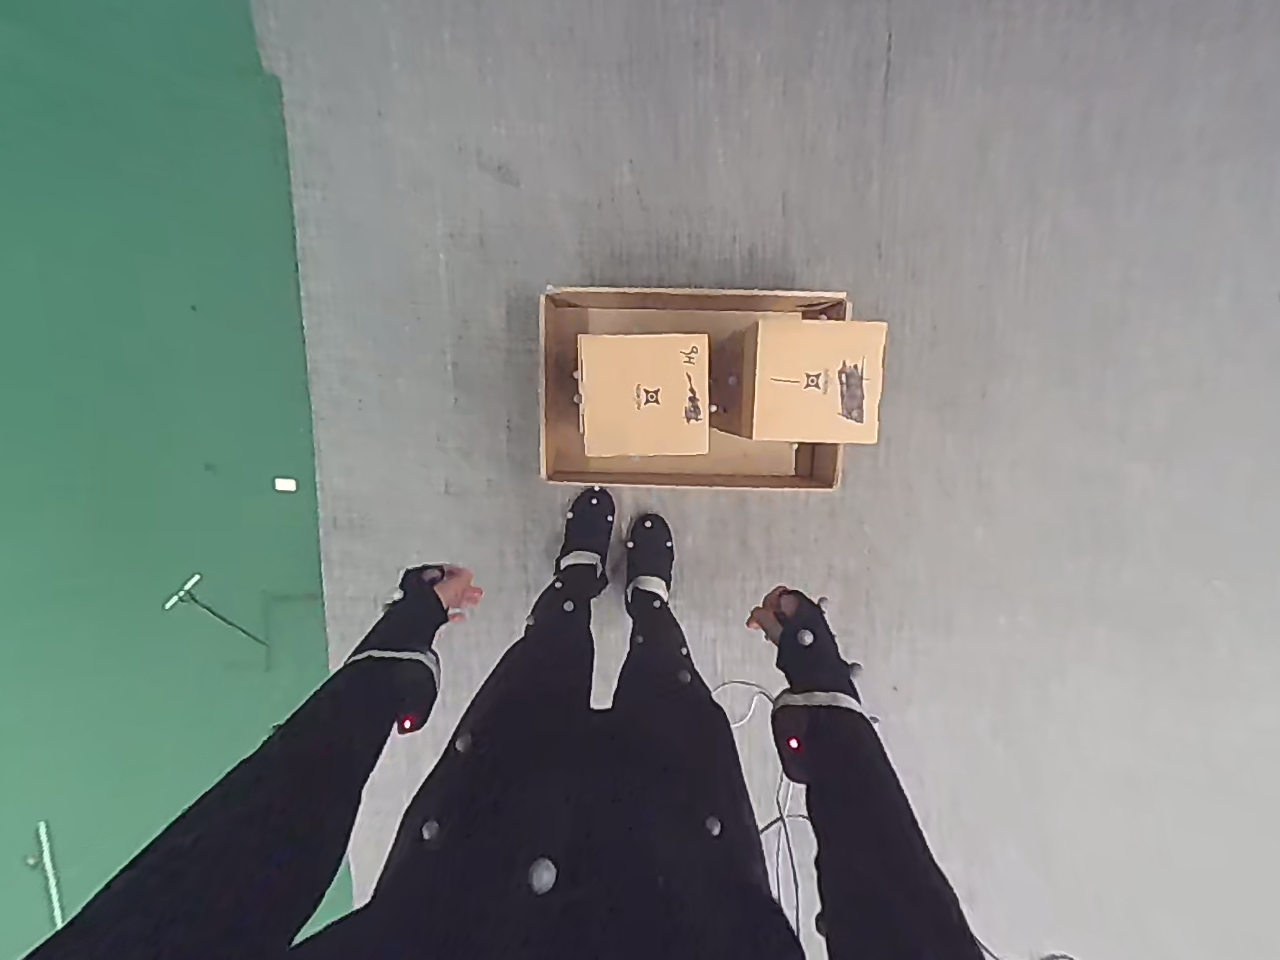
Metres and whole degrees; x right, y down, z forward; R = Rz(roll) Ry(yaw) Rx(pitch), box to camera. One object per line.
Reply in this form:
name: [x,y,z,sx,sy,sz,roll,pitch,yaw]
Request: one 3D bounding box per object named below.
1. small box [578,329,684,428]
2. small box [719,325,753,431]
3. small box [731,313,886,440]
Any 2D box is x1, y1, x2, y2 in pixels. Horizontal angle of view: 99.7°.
small box: [-0.015,-0.178,0.980,0.179,0.176,0.168,-1,98,-2]
small box: [0.238,-0.178,0.978,0.168,0.176,0.179,2,97,0]
small box: [0.242,-0.152,0.816,0.179,0.176,0.168,2,98,1]
